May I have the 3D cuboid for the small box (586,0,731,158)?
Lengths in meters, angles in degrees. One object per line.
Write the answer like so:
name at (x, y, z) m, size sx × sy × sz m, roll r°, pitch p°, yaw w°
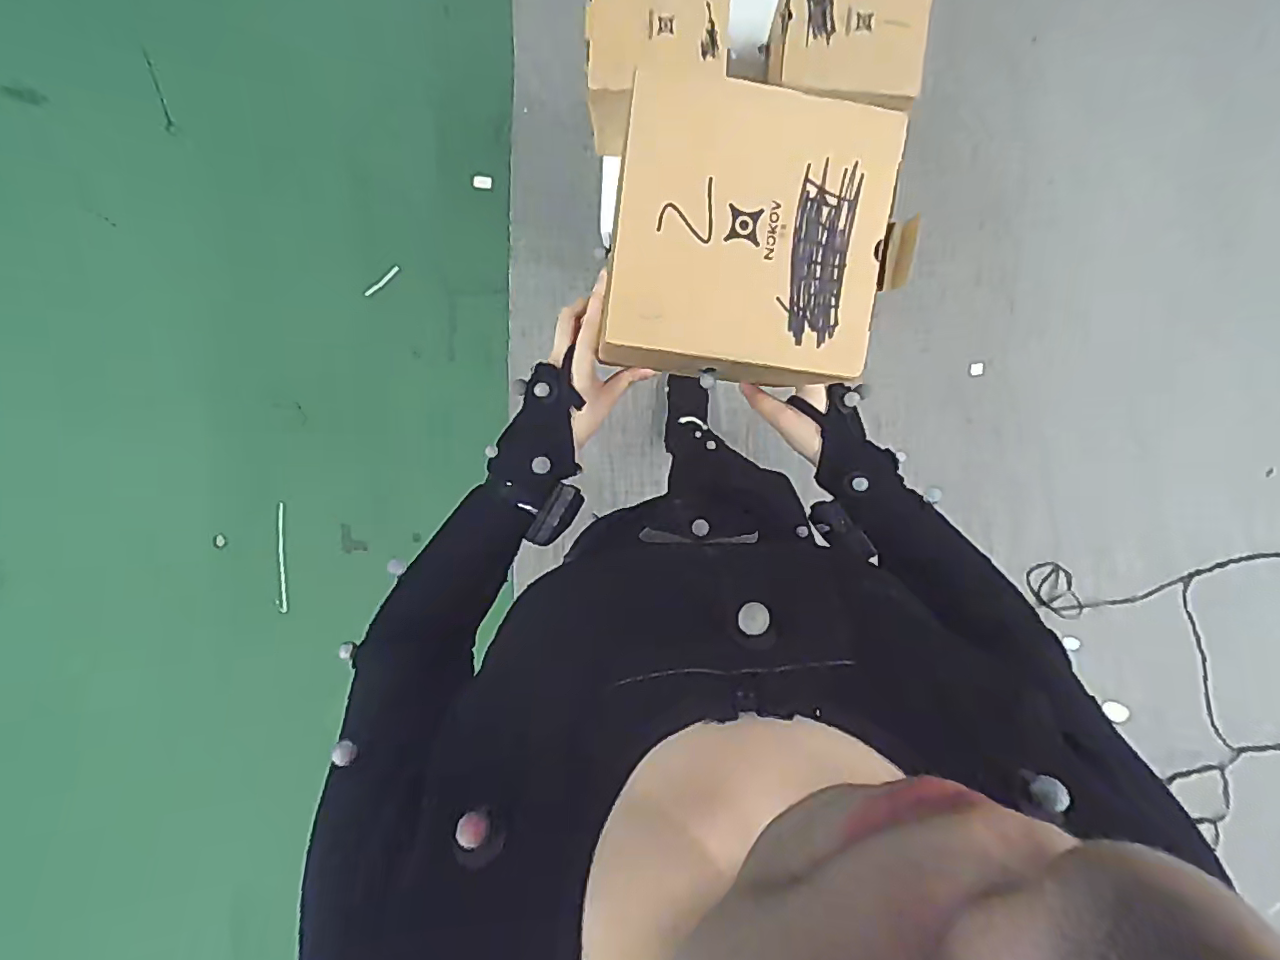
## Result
small box at (0.025, -0.573, 0.750) m, size 0.179 × 0.176 × 0.168 m, roll 4°, pitch 96°, yaw 0°

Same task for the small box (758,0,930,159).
small box at (0.269, -0.572, 0.747) m, size 0.179 × 0.176 × 0.168 m, roll 5°, pitch 96°, yaw 1°
